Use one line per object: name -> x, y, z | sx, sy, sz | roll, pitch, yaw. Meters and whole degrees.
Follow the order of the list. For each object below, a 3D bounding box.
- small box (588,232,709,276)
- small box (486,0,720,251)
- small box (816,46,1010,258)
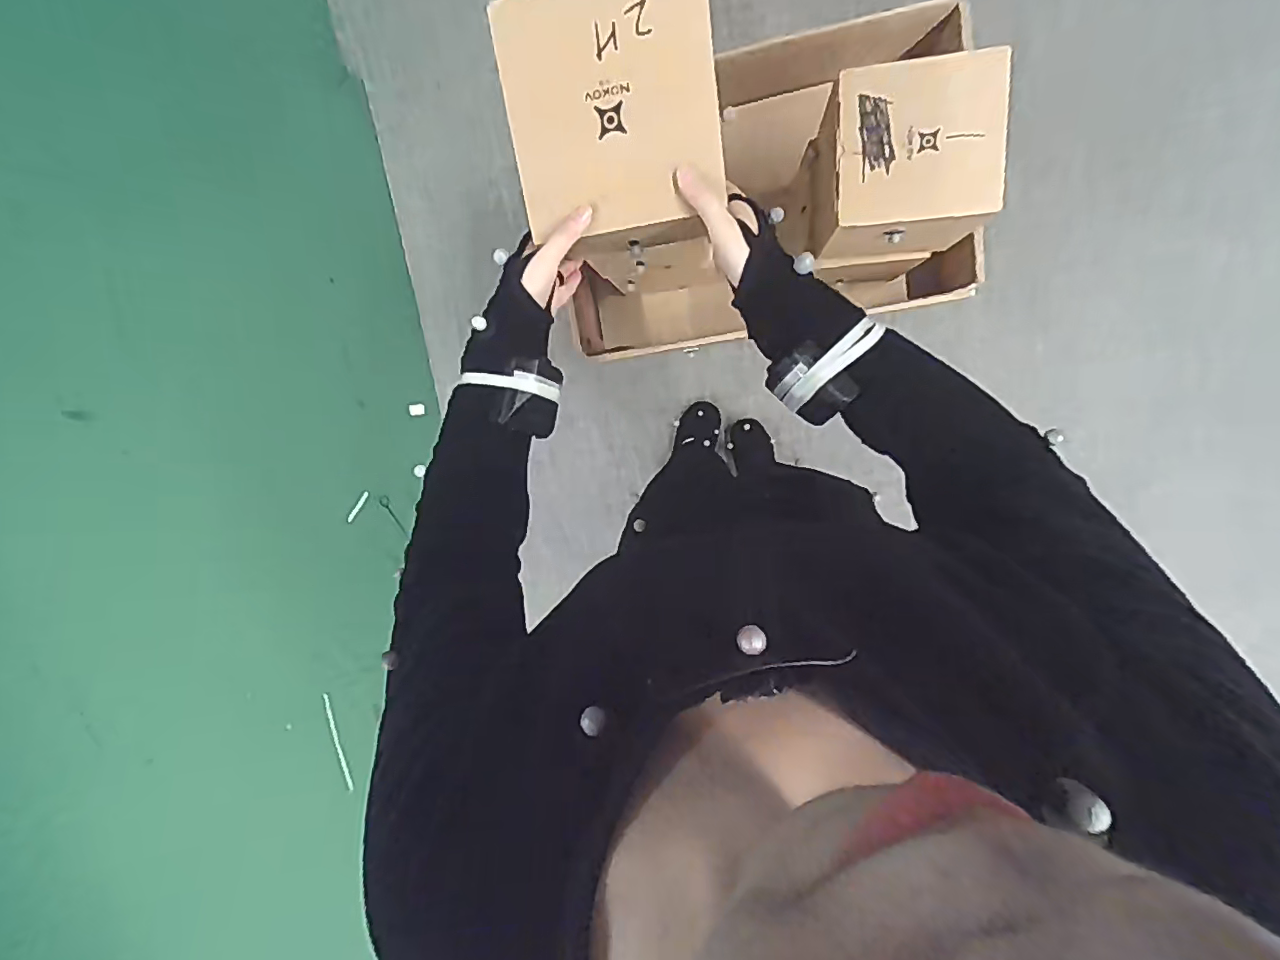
small box -> 0.004, -0.386, 0.718 | 0.168, 0.176, 0.179 | -2, 99, 10
small box -> -0.015, -0.315, 0.496 | 0.168, 0.176, 0.179 | -6, 107, 9
small box -> 0.317, -0.382, 0.666 | 0.179, 0.176, 0.168 | -1, 99, 10
